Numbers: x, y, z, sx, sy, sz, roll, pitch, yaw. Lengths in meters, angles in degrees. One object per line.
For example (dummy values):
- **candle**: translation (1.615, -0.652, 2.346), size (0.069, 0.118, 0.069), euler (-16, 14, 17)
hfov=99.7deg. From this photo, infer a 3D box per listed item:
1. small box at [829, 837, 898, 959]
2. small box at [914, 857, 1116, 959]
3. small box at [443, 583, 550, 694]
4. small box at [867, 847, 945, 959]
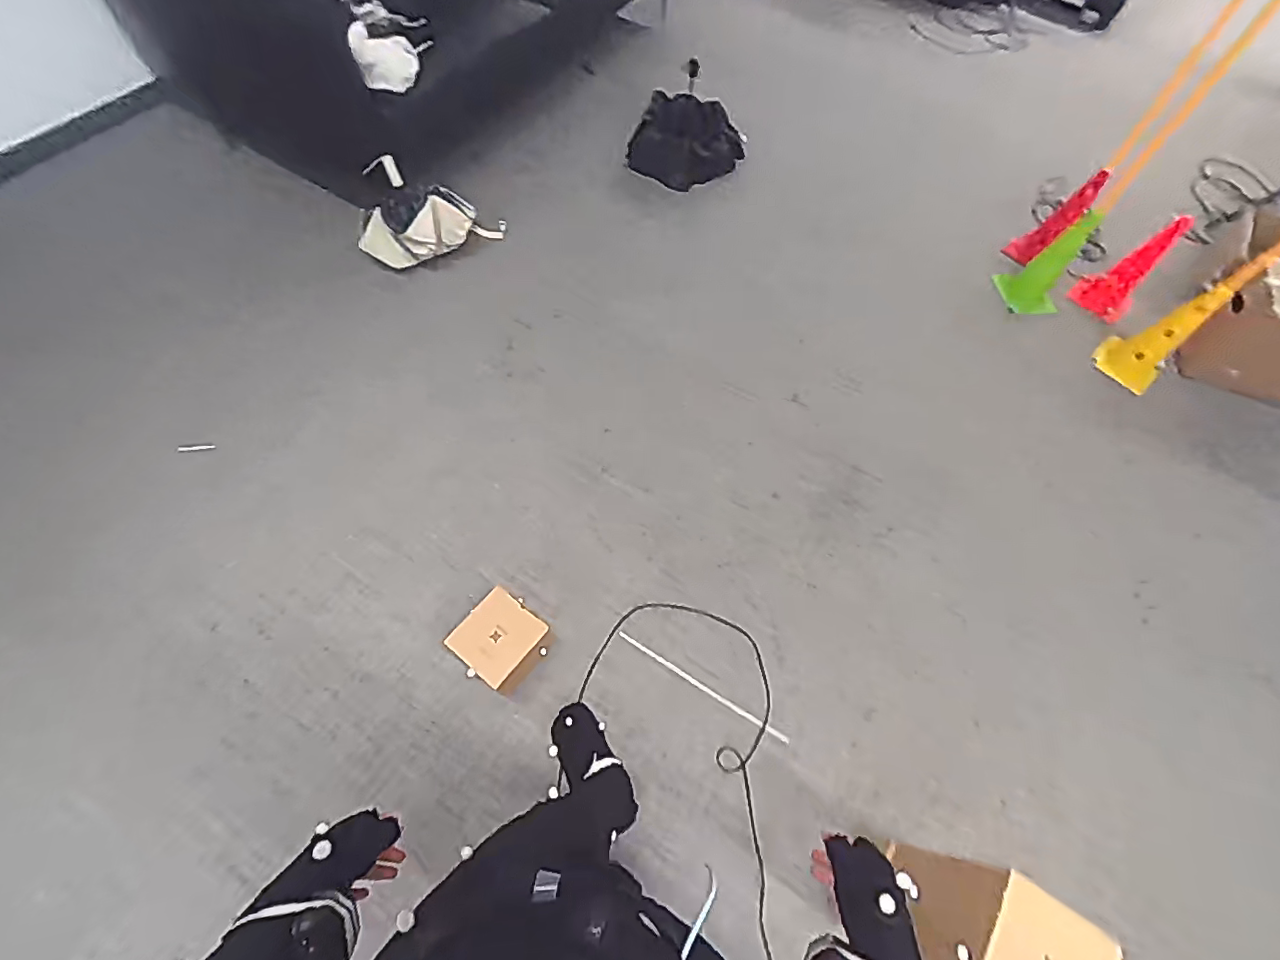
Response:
- **small box**: translation (0.515, 0.862, 1.101), size (0.179, 0.176, 0.168), euler (33, 65, 12)
- **small box**: translation (0.549, 0.711, 0.813), size (0.168, 0.176, 0.179), euler (33, 66, 12)
- **small box**: translation (-0.327, 0.378, 1.275), size (0.168, 0.176, 0.179), euler (36, 66, 14)
- **small box**: translation (0.533, 0.791, 0.954), size (0.168, 0.176, 0.179), euler (34, 66, 12)
